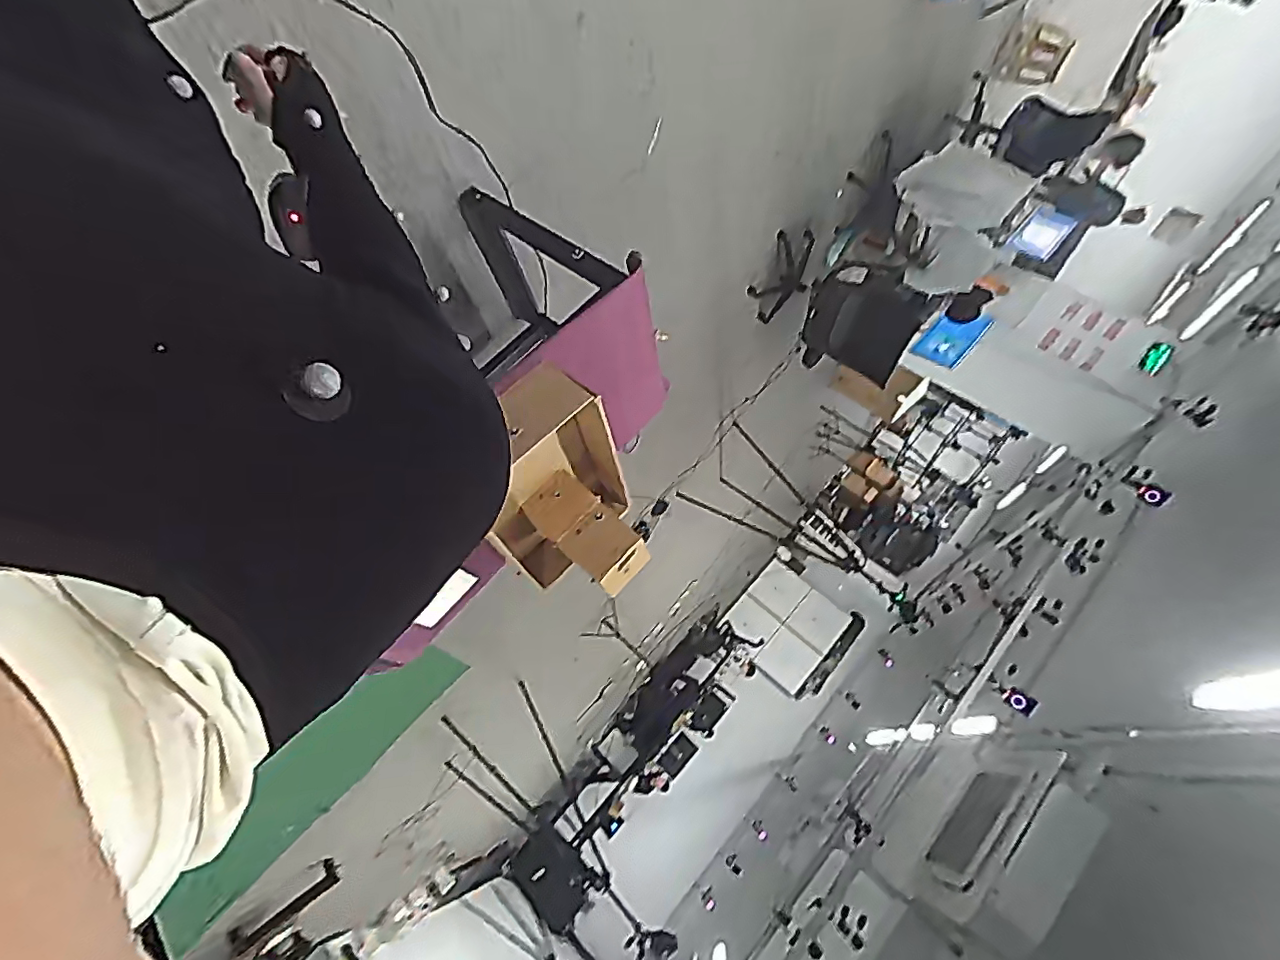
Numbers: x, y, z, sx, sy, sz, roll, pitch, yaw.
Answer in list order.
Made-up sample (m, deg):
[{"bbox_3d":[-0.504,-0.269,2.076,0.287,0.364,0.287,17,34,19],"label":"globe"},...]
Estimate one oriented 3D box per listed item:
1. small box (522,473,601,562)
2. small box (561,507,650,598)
[{"bbox_3d":[-0.217,0.107,1.599,0.168,0.176,0.179,-45,153,-14],"label":"small box"},{"bbox_3d":[-0.098,0.202,1.536,0.168,0.176,0.179,-45,155,-13],"label":"small box"}]
